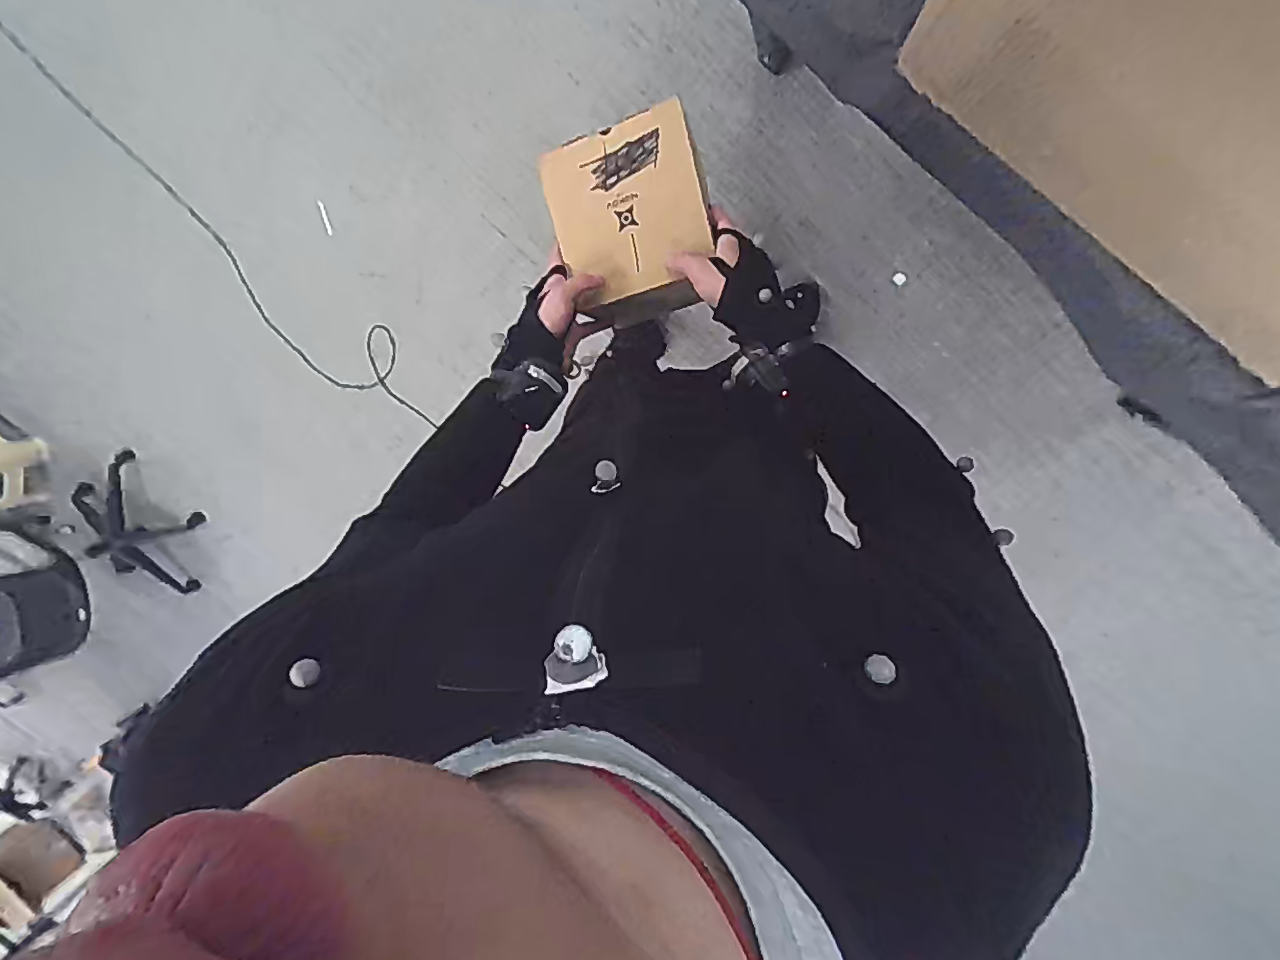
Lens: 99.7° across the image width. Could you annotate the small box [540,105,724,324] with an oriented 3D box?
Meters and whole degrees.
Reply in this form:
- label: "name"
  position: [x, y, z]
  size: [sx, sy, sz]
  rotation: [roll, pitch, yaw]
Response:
- label: "small box"
  position: [0.002, -0.305, 0.667]
  size: [0.168, 0.176, 0.179]
  rotation: [-12, 97, 17]
